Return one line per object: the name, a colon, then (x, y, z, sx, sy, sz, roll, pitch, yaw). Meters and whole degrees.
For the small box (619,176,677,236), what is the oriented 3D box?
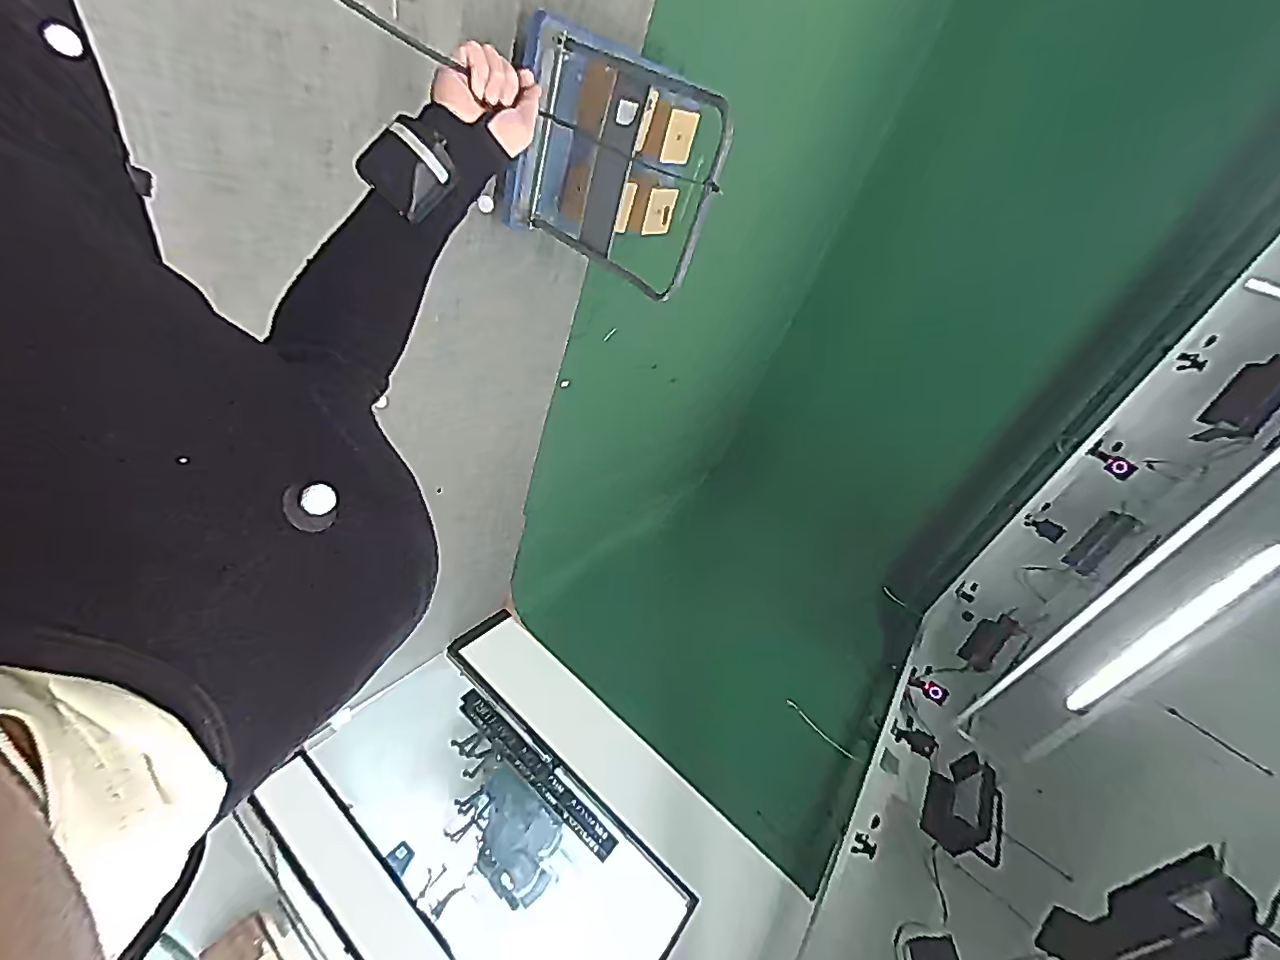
small box: (0.011, -1.067, 2.106, 0.179, 0.176, 0.168, -29, 147, -45)

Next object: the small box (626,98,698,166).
small box: (0.074, -1.257, 1.954, 0.179, 0.176, 0.168, -30, 149, -45)

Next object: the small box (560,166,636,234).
small box: (-0.150, -0.985, 1.905, 0.179, 0.176, 0.168, -25, 145, -49)
